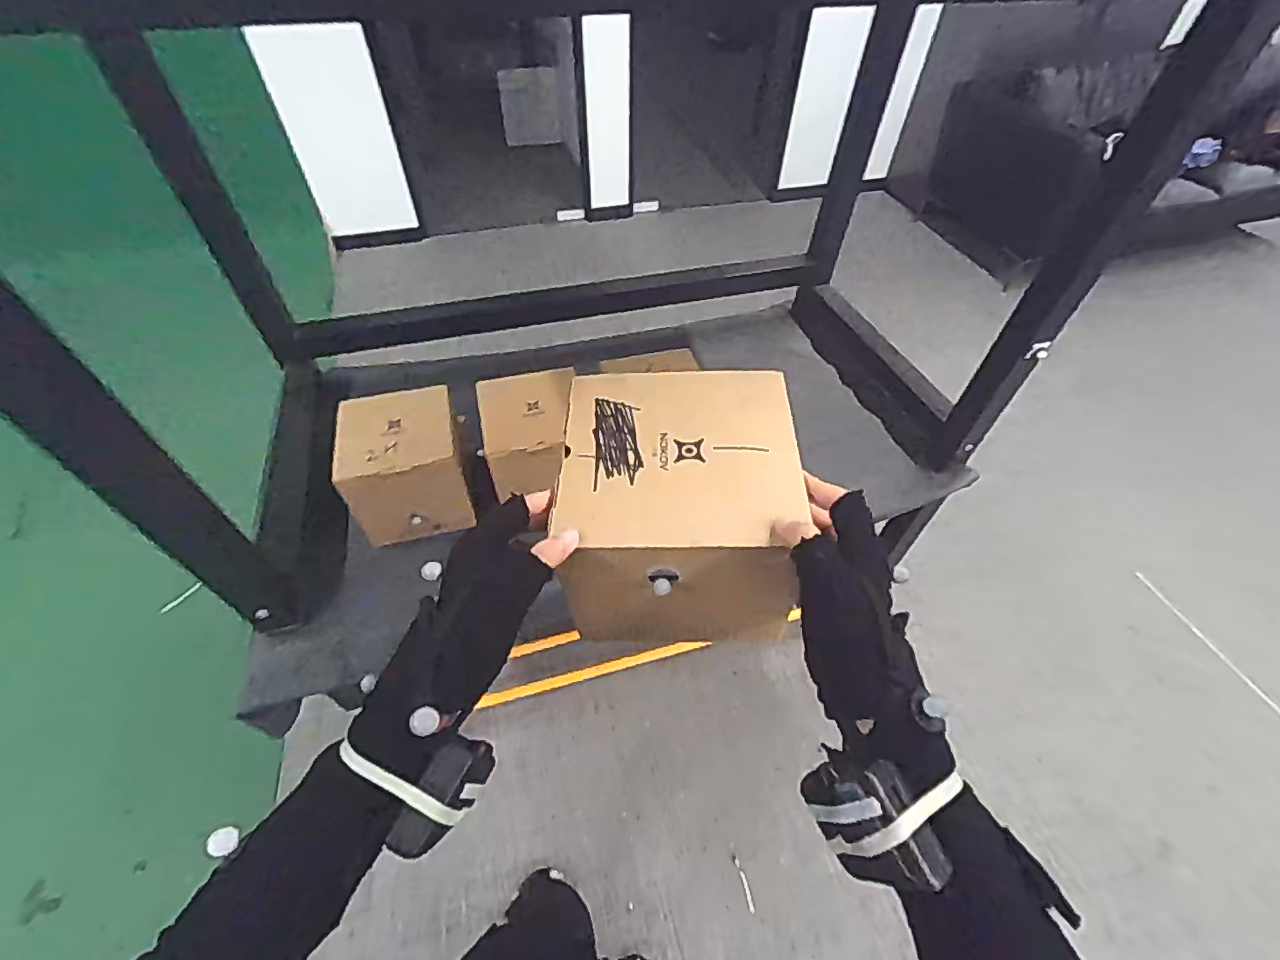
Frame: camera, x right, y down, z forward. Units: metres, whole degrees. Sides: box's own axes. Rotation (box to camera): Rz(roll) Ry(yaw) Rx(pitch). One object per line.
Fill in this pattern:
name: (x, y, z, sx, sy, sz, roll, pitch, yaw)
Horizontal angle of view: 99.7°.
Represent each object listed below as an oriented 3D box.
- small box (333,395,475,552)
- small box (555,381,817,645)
small box: (-0.373, -0.011, 0.879, 0.168, 0.176, 0.179, -12, 50, -12)
small box: (0.036, 0.033, 0.465, 0.179, 0.176, 0.168, 0, 53, 3)
